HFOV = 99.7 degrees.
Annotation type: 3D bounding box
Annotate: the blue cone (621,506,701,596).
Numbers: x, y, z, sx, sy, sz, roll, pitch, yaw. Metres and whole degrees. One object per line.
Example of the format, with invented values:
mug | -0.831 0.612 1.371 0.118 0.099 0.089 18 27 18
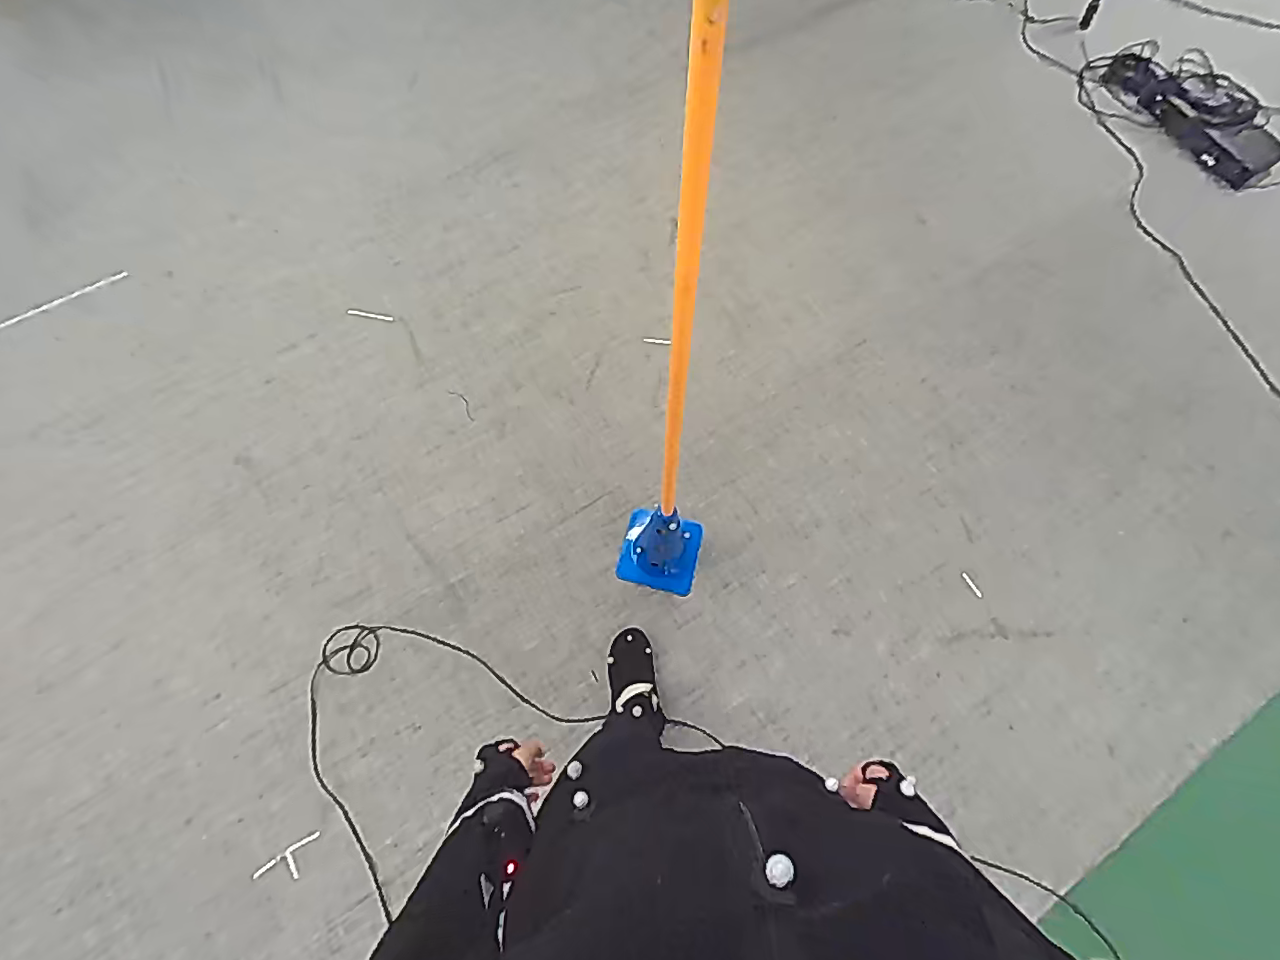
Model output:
blue cone | 0.055 0.135 1.239 0.192 0.380 0.193 12 69 4
